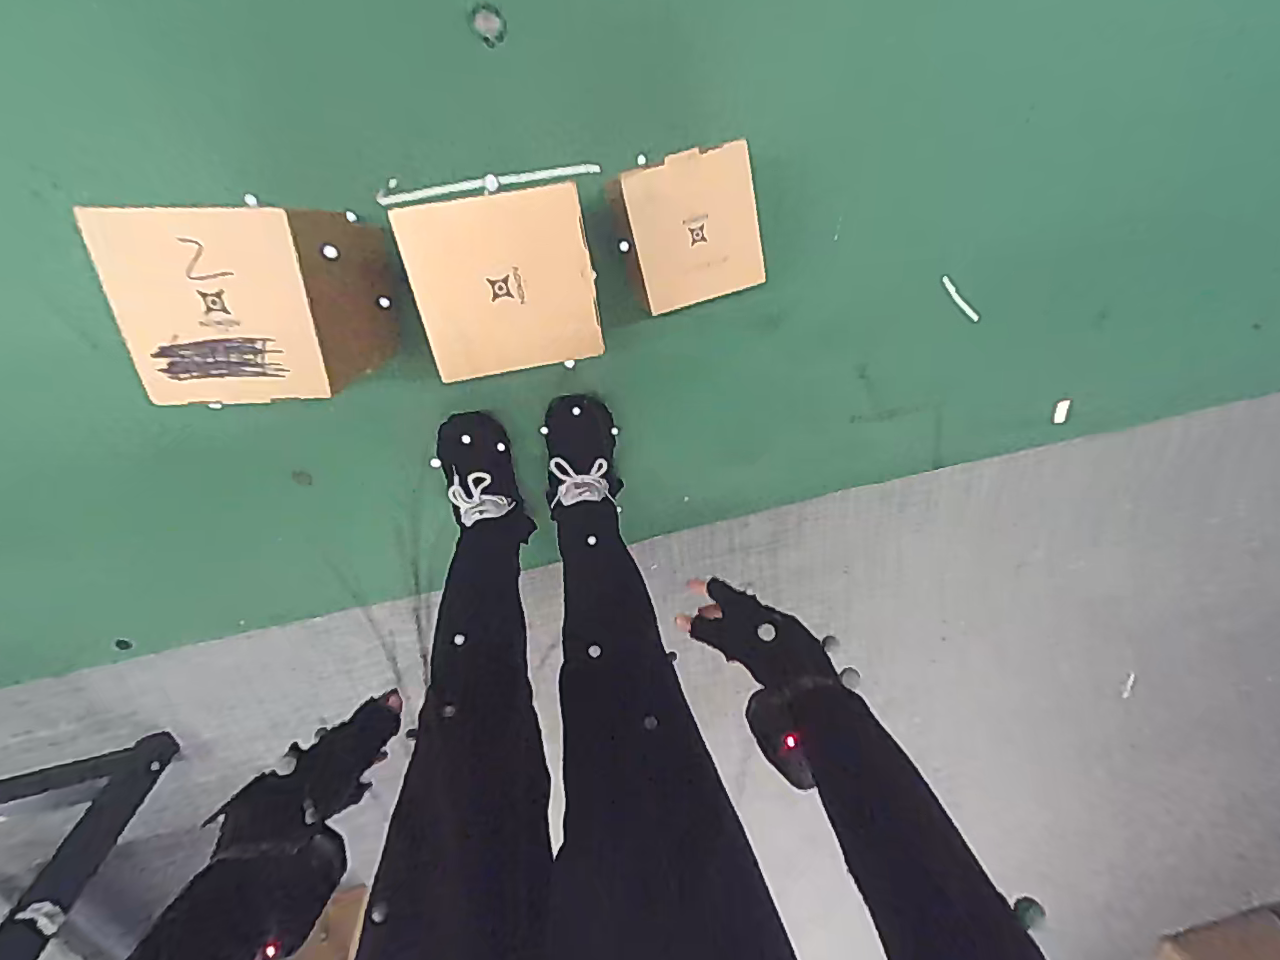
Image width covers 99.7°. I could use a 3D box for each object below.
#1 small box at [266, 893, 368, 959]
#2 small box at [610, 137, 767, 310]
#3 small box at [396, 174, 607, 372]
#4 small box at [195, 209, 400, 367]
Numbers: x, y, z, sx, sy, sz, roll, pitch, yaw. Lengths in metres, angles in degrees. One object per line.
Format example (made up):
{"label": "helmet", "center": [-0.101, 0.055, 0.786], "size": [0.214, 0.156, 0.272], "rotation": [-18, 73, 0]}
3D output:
{"label": "small box", "center": [-0.781, 1.146, 1.310], "size": [0.179, 0.176, 0.168], "rotation": [-9, 116, -8]}
{"label": "small box", "center": [0.062, -0.356, 0.767], "size": [0.168, 0.176, 0.179], "rotation": [-16, 117, -3]}
{"label": "small box", "center": [-0.141, -0.231, 0.602], "size": [0.179, 0.176, 0.168], "rotation": [-12, 117, -6]}
{"label": "small box", "center": [-0.431, -0.256, 0.716], "size": [0.168, 0.176, 0.179], "rotation": [-2, 116, -9]}
